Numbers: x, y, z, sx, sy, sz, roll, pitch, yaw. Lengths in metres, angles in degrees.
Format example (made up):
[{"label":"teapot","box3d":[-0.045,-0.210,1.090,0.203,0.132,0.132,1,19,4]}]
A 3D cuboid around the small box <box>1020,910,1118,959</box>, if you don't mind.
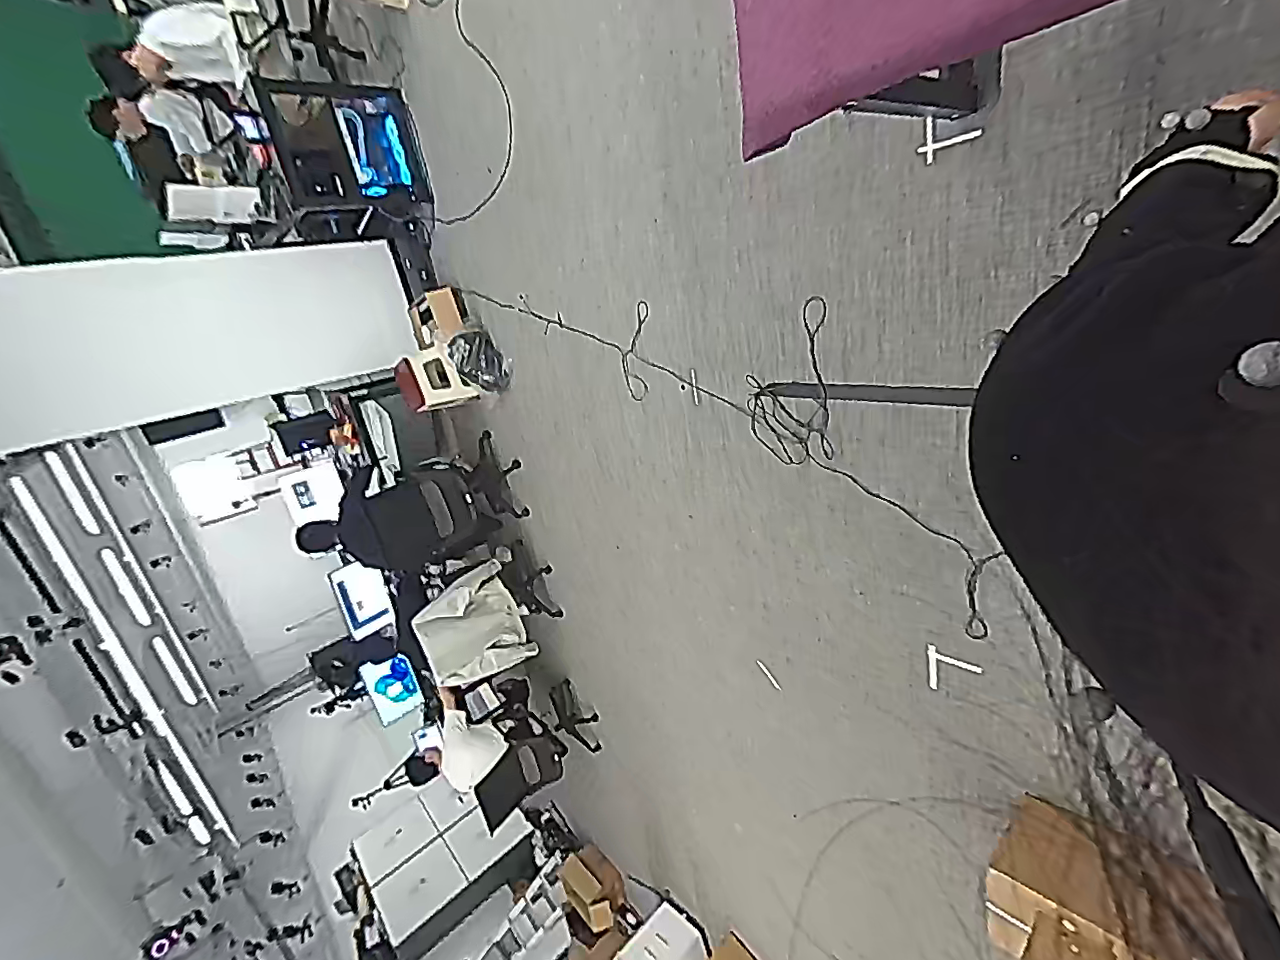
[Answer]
[{"label":"small box","box3d":[1.074,1.252,1.356,0.168,0.176,0.179,9,117,49]}]
